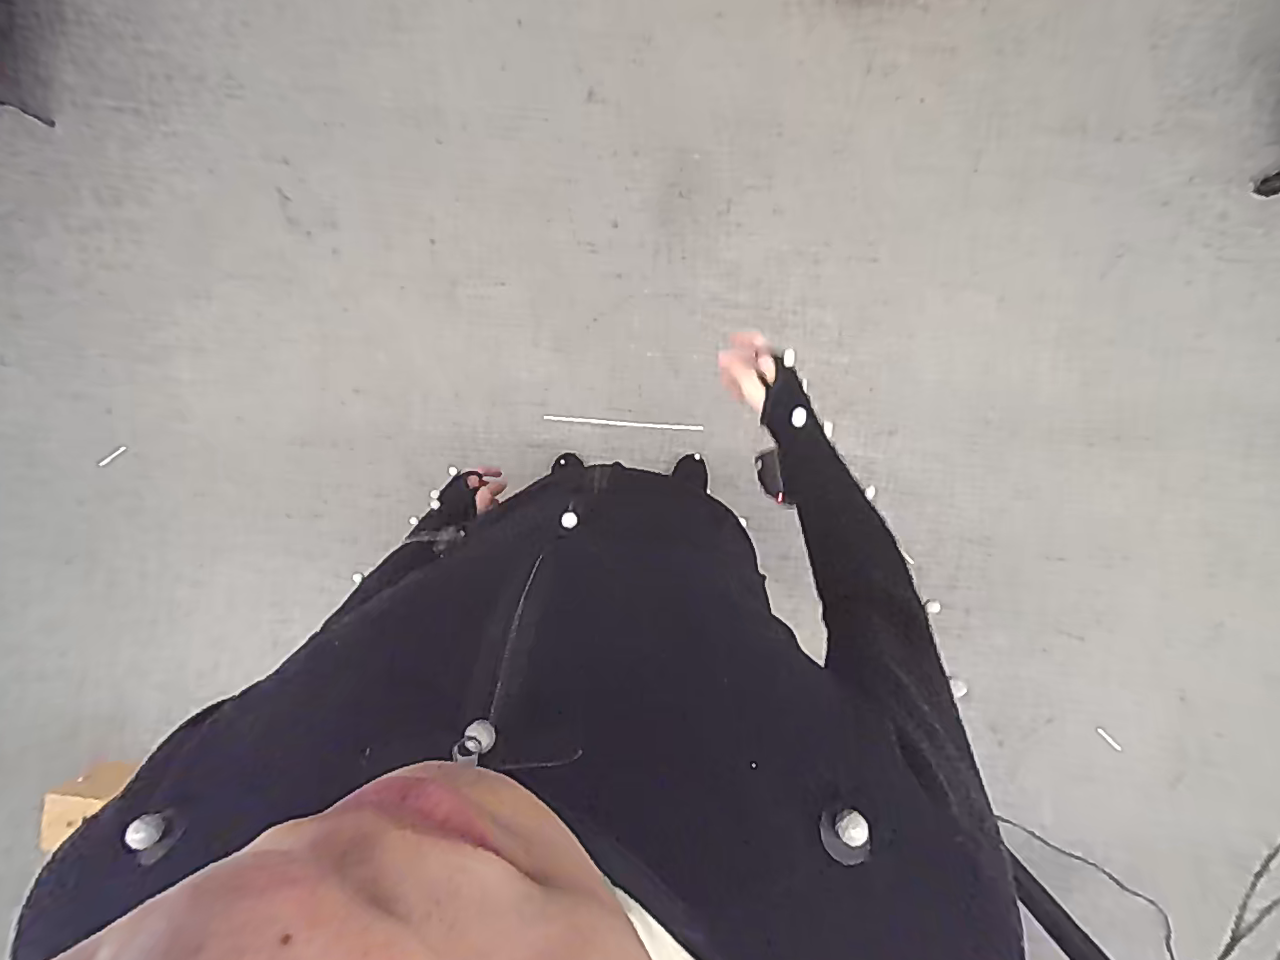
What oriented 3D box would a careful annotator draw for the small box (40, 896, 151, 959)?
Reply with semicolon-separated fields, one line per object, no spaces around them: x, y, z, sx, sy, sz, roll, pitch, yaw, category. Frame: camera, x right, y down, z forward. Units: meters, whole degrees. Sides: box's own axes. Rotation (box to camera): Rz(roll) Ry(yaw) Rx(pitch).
-1.630;1.399;1.626;0.179;0.176;0.168;7;92;1;small box
